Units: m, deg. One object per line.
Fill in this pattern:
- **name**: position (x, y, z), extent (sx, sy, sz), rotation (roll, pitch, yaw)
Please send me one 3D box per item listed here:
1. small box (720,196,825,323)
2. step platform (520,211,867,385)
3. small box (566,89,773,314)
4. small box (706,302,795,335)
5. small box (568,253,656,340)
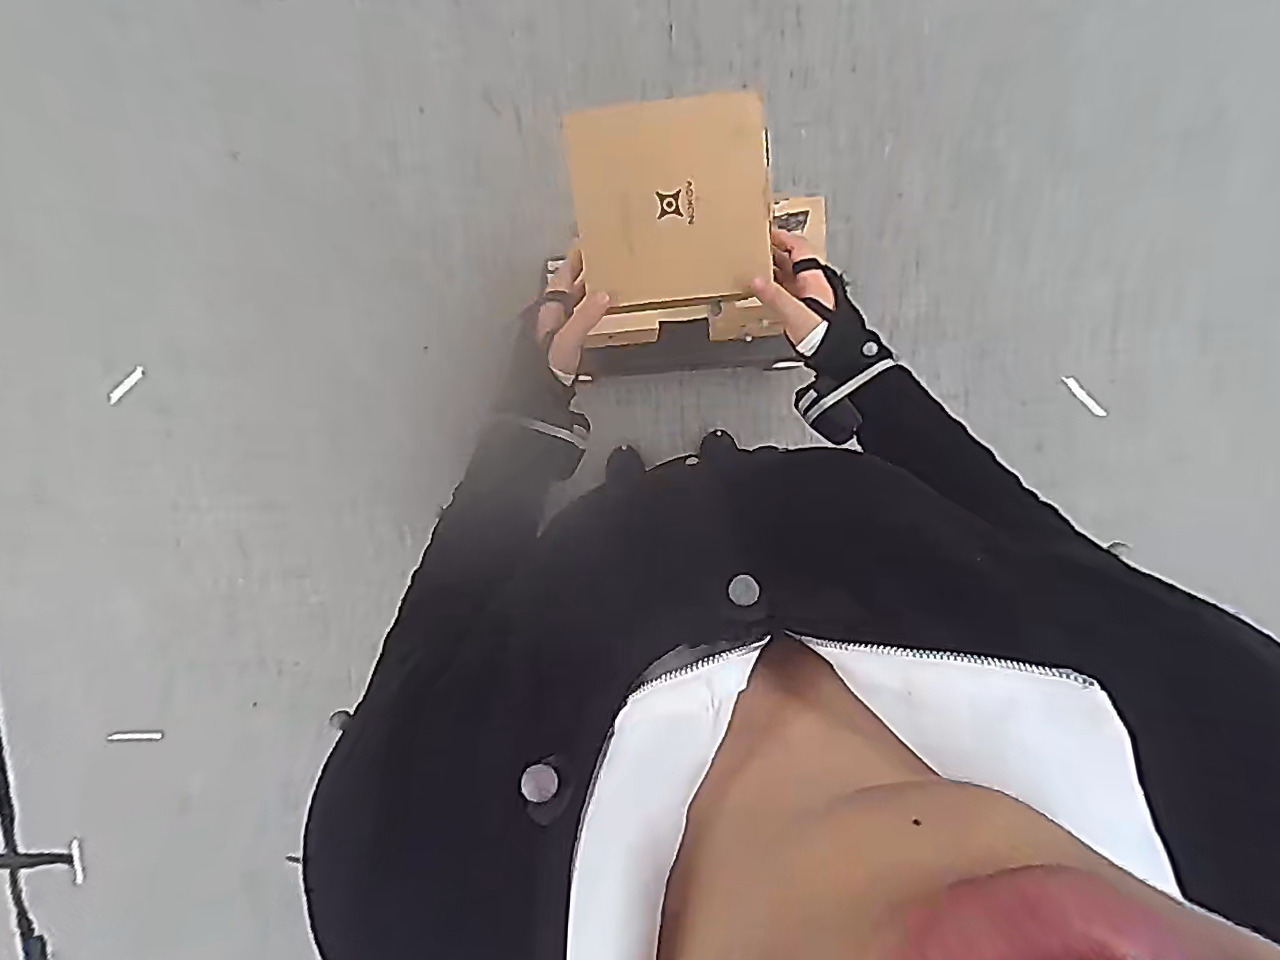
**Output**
- **small box**: position (0.239, -0.406, 1.020), extent (0.168, 0.176, 0.179), rotation (-5, 96, 2)
- **step platform**: position (0.104, -0.369, 1.155), extent (0.684, 0.204, 0.286), rotation (-4, 95, 0)
- **small box**: position (0.028, -0.269, 0.561), extent (0.179, 0.176, 0.168), rotation (-7, 104, 1)
- **small box**: position (0.232, -0.417, 1.184), extent (0.168, 0.176, 0.179), rotation (-5, 96, 2)
- **small box**: position (-0.057, -0.397, 1.190), extent (0.179, 0.176, 0.168), rotation (-6, 95, 1)
